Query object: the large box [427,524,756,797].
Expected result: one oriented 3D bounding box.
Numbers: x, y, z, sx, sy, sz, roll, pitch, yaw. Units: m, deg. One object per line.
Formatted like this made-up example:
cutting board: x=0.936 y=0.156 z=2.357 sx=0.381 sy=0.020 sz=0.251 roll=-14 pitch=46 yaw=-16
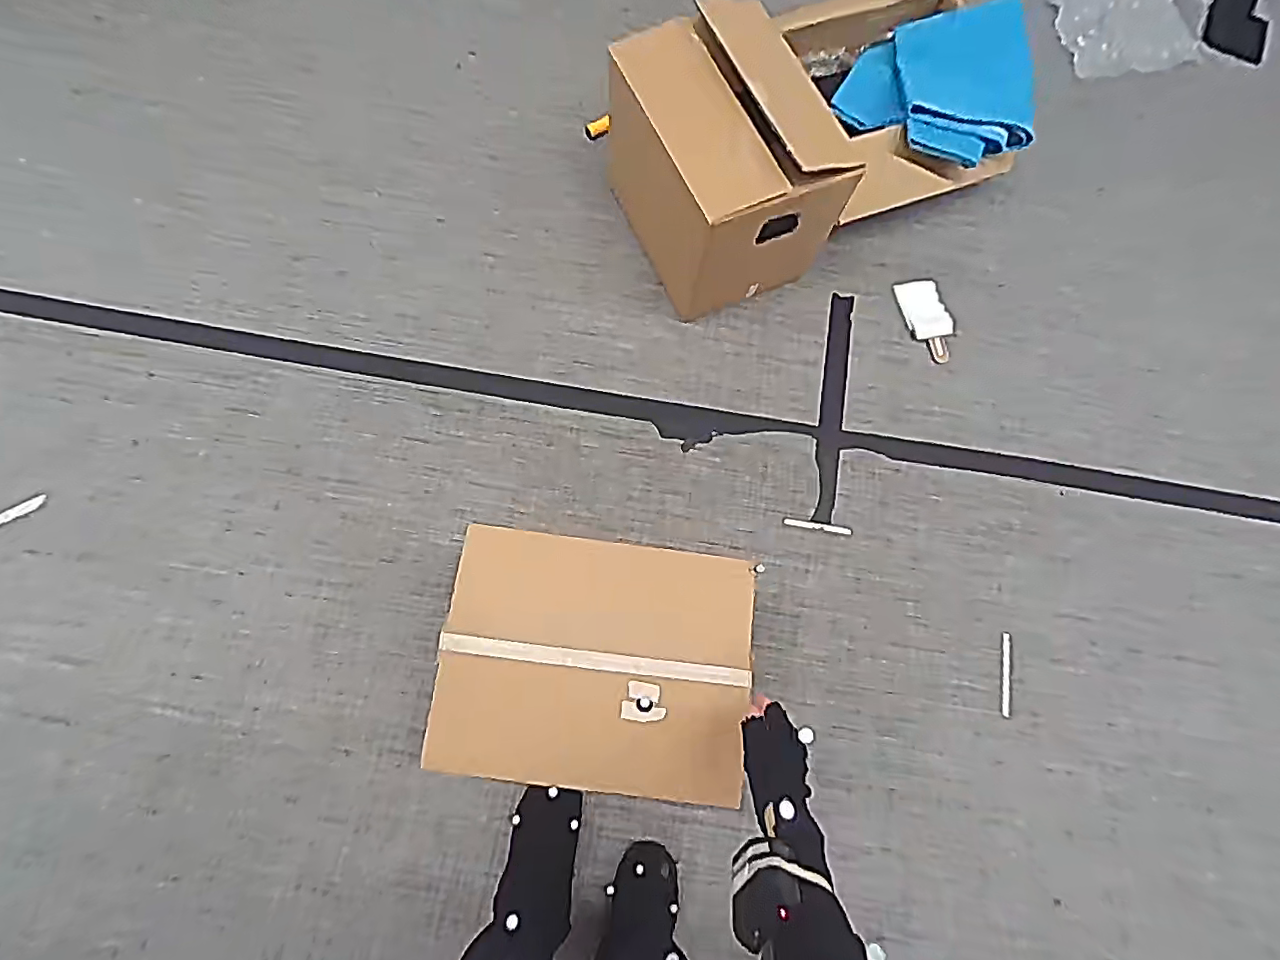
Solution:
large box: x=-0.061 y=0.265 z=0.847 sx=0.408 sy=0.320 sz=0.320 roll=7 pitch=76 yaw=-2
